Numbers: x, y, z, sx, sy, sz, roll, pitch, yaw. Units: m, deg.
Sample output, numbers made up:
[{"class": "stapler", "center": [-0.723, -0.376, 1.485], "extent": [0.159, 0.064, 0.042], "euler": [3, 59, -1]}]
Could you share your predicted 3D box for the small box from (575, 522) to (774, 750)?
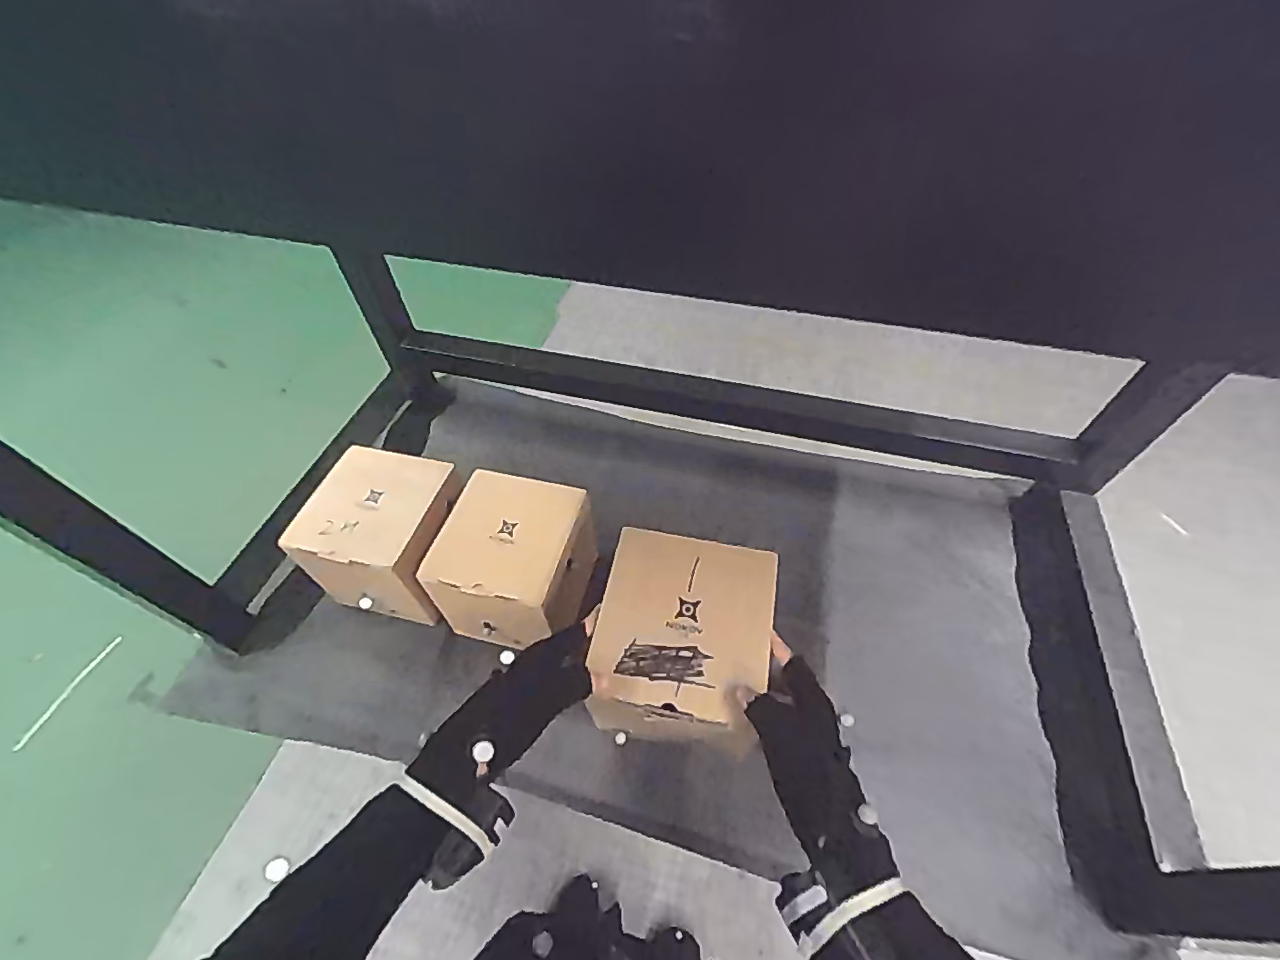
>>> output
[{"class": "small box", "center": [0.042, 0.172, 0.581], "extent": [0.168, 0.176, 0.179], "euler": [9, 55, 8]}]

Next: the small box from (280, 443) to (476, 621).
[{"class": "small box", "center": [-0.356, 0.076, 0.780], "extent": [0.168, 0.176, 0.179], "euler": [10, 53, 10]}]
